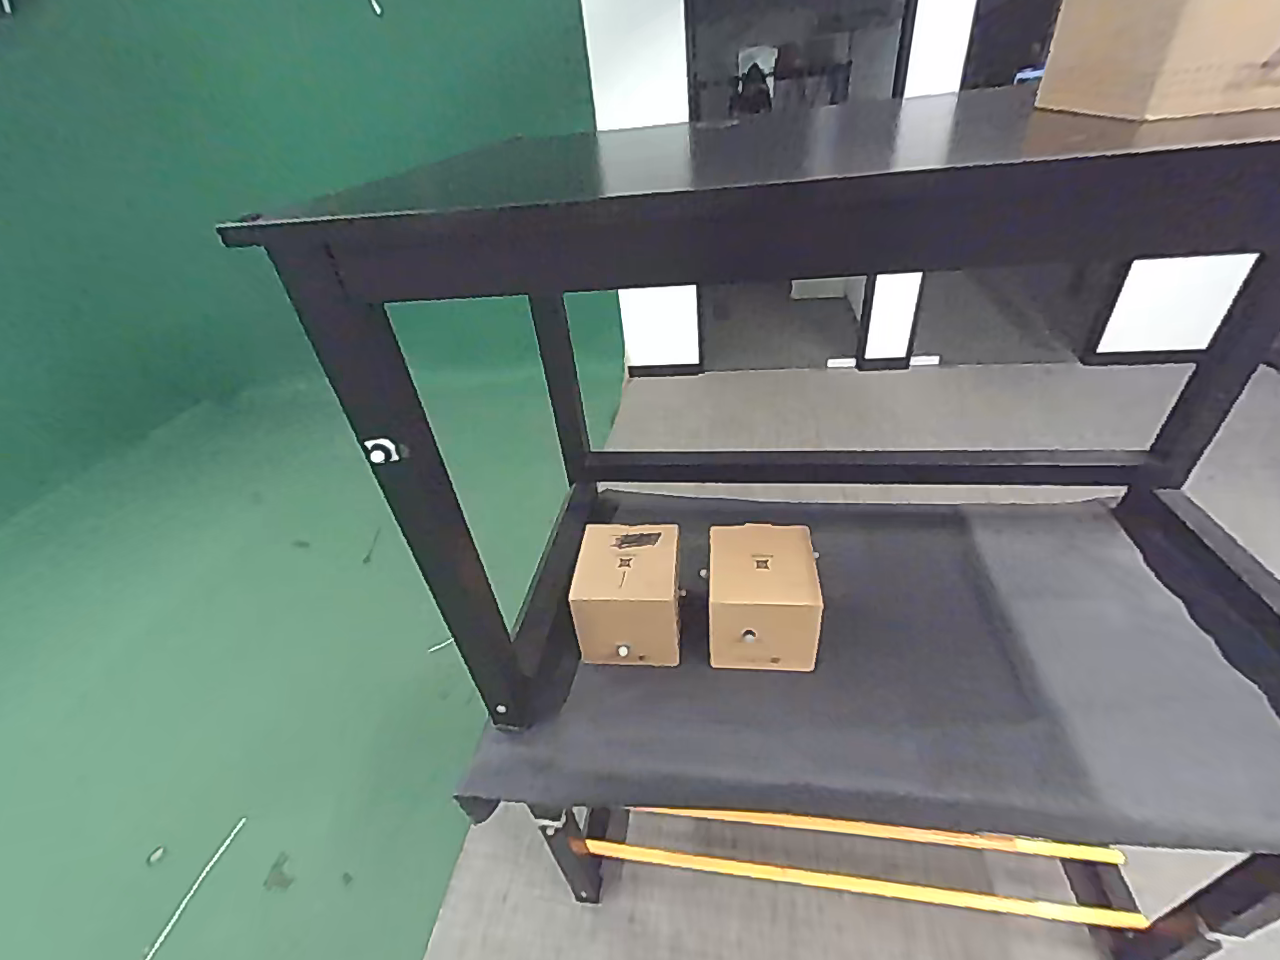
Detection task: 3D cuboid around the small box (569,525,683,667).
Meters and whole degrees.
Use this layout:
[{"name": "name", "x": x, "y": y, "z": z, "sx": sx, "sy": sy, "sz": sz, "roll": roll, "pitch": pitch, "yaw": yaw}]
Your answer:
[{"name": "small box", "x": -0.014, "y": 0.197, "z": 0.934, "sx": 0.168, "sy": 0.176, "sz": 0.179, "roll": -1, "pitch": 37, "yaw": 9}]
